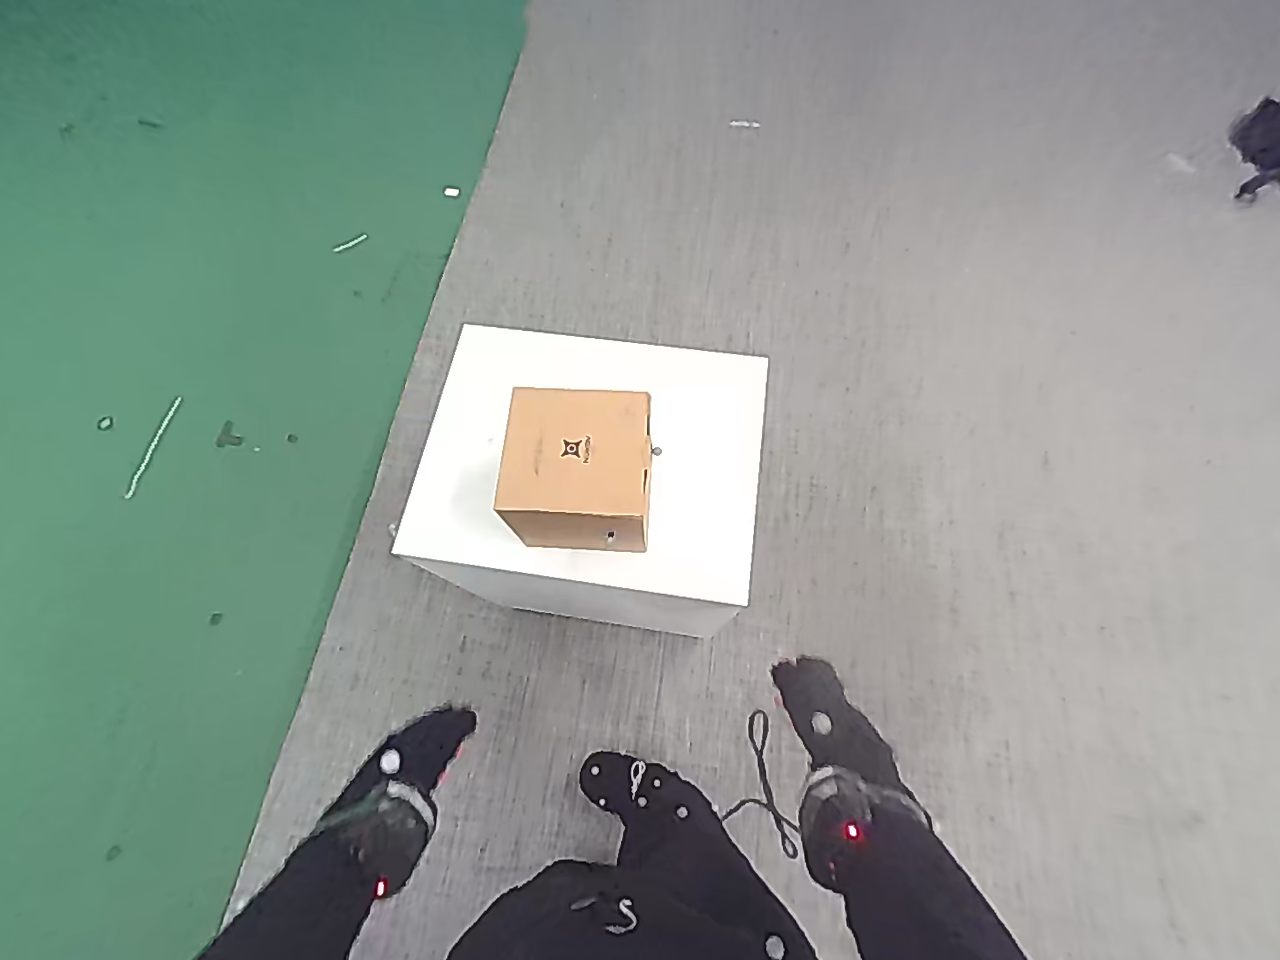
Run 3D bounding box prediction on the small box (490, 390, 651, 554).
[{"bbox_3d":[-0.077,-0.003,0.713,0.179,0.176,0.168,1,68,5],"label":"small box"}]
